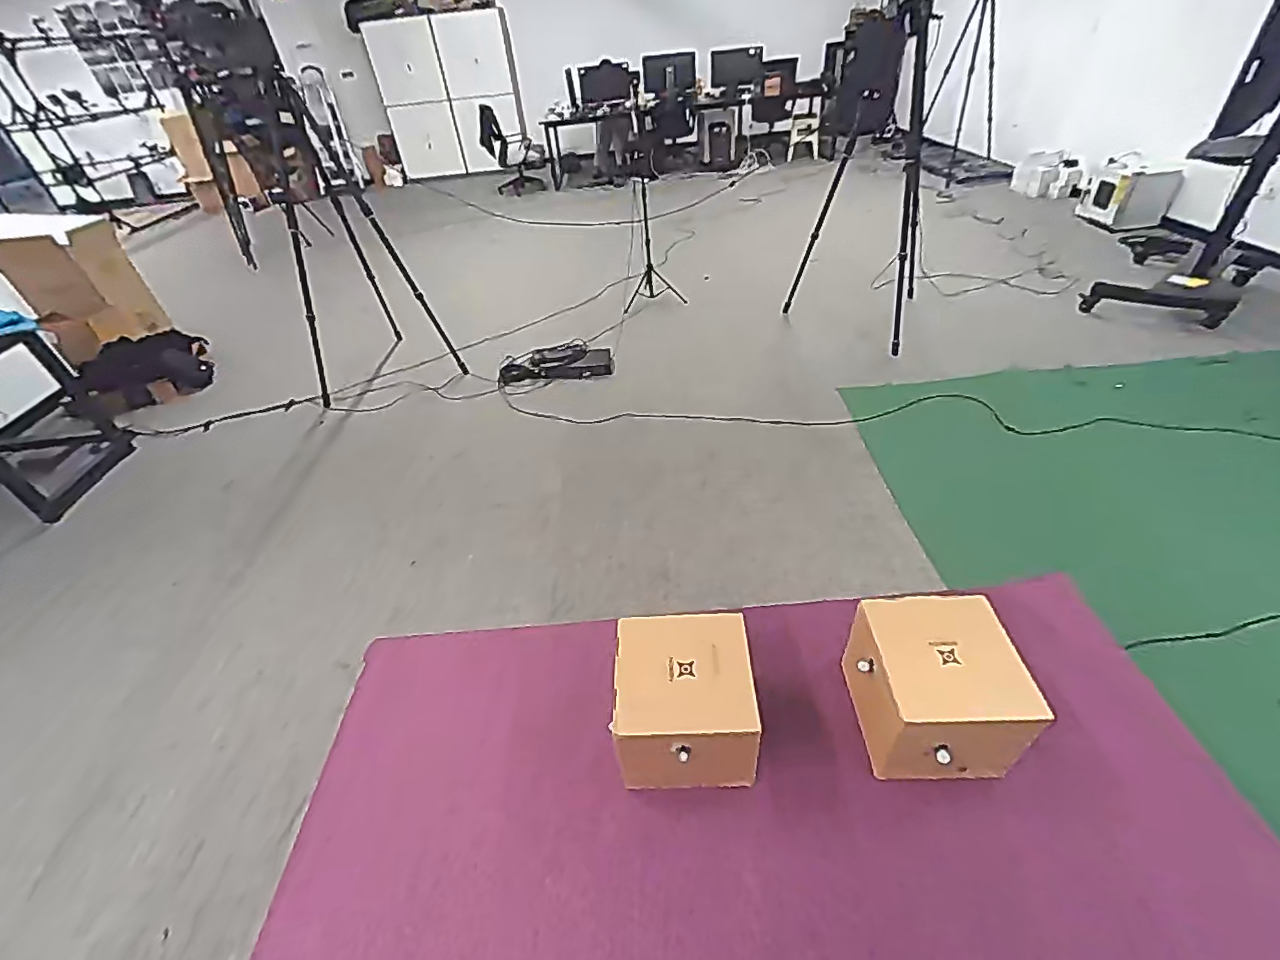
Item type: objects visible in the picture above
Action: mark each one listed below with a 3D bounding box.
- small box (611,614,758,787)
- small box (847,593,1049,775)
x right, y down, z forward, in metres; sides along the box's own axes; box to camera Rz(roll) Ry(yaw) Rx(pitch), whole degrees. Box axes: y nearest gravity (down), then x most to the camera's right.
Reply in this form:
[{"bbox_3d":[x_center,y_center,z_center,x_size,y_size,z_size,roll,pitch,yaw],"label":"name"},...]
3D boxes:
[{"bbox_3d":[0.062,0.303,0.740,0.179,0.176,0.168,-3,41,4],"label":"small box"},{"bbox_3d":[0.389,0.275,0.721,0.168,0.176,0.179,-4,39,5],"label":"small box"}]
